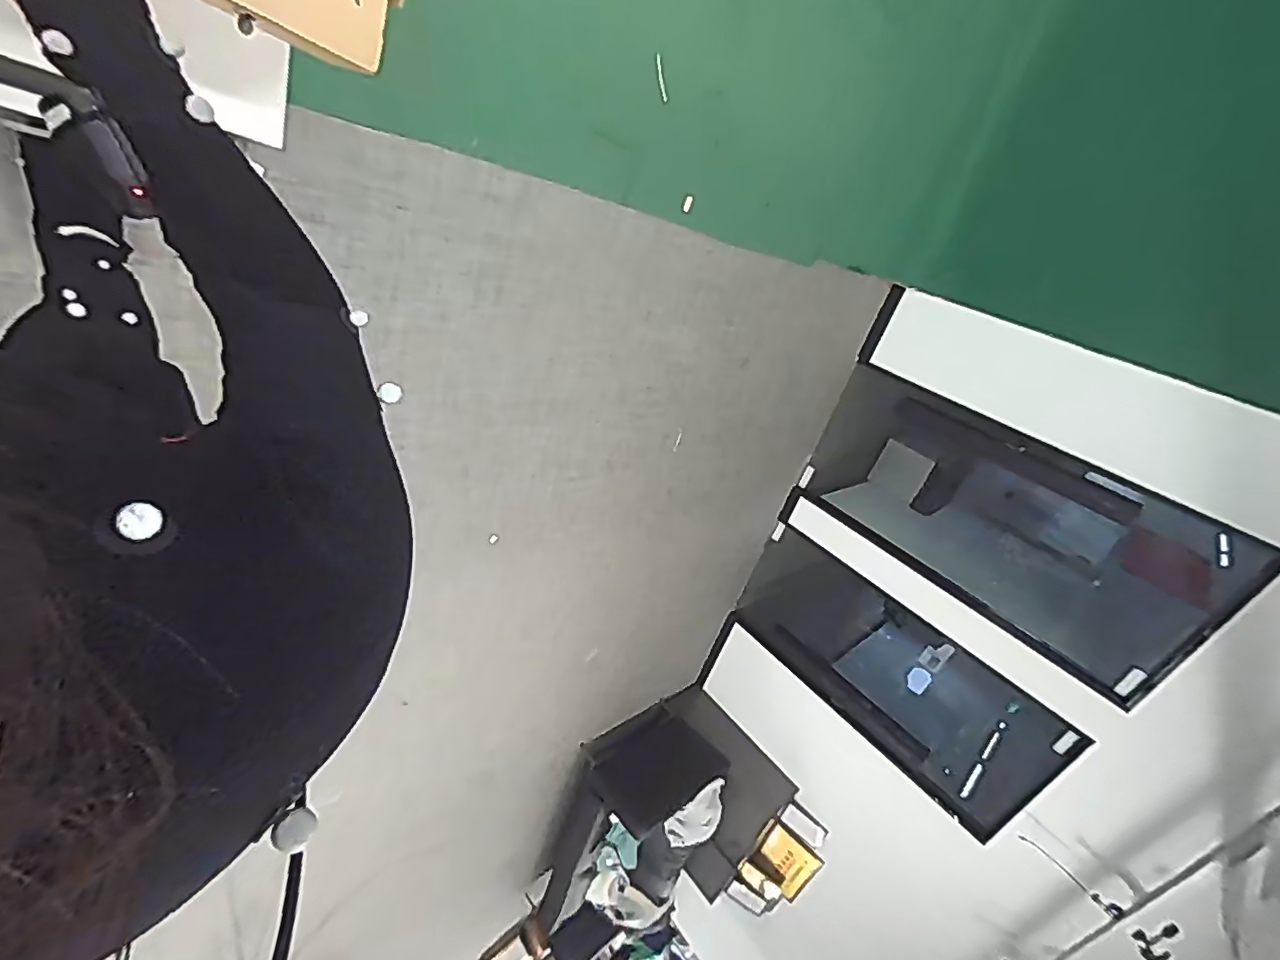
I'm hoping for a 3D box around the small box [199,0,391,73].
[{"bbox_3d":[-0.327,-0.492,0.466,0.179,0.176,0.168,-1,123,-47],"label":"small box"}]
